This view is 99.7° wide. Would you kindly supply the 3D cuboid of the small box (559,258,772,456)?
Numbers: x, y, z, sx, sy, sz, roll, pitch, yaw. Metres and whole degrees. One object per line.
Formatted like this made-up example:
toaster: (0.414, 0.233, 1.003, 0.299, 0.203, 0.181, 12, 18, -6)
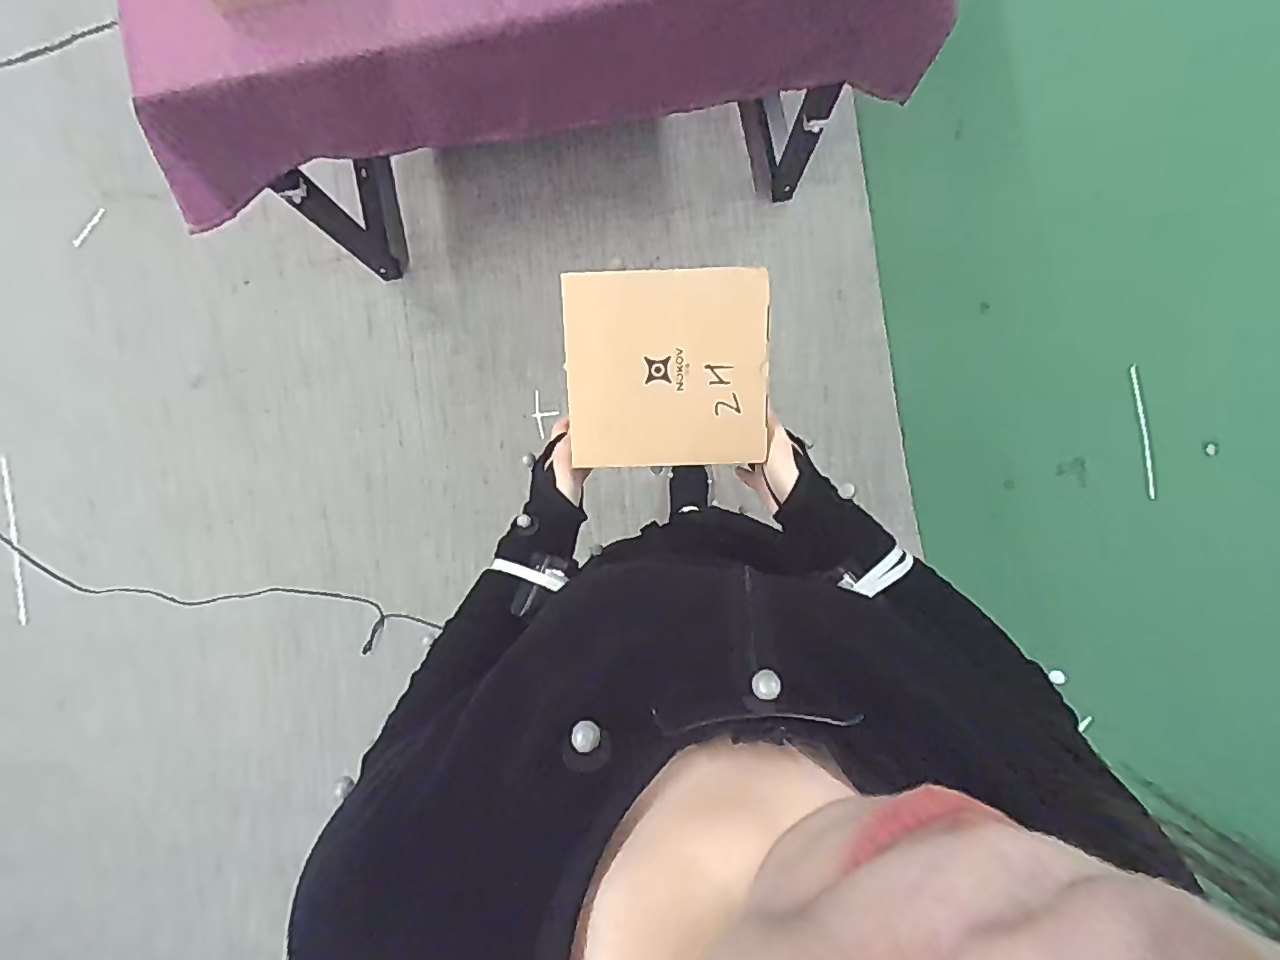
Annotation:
small box: (0.023, -0.117, 0.534, 0.179, 0.176, 0.168, -1, 103, 1)
